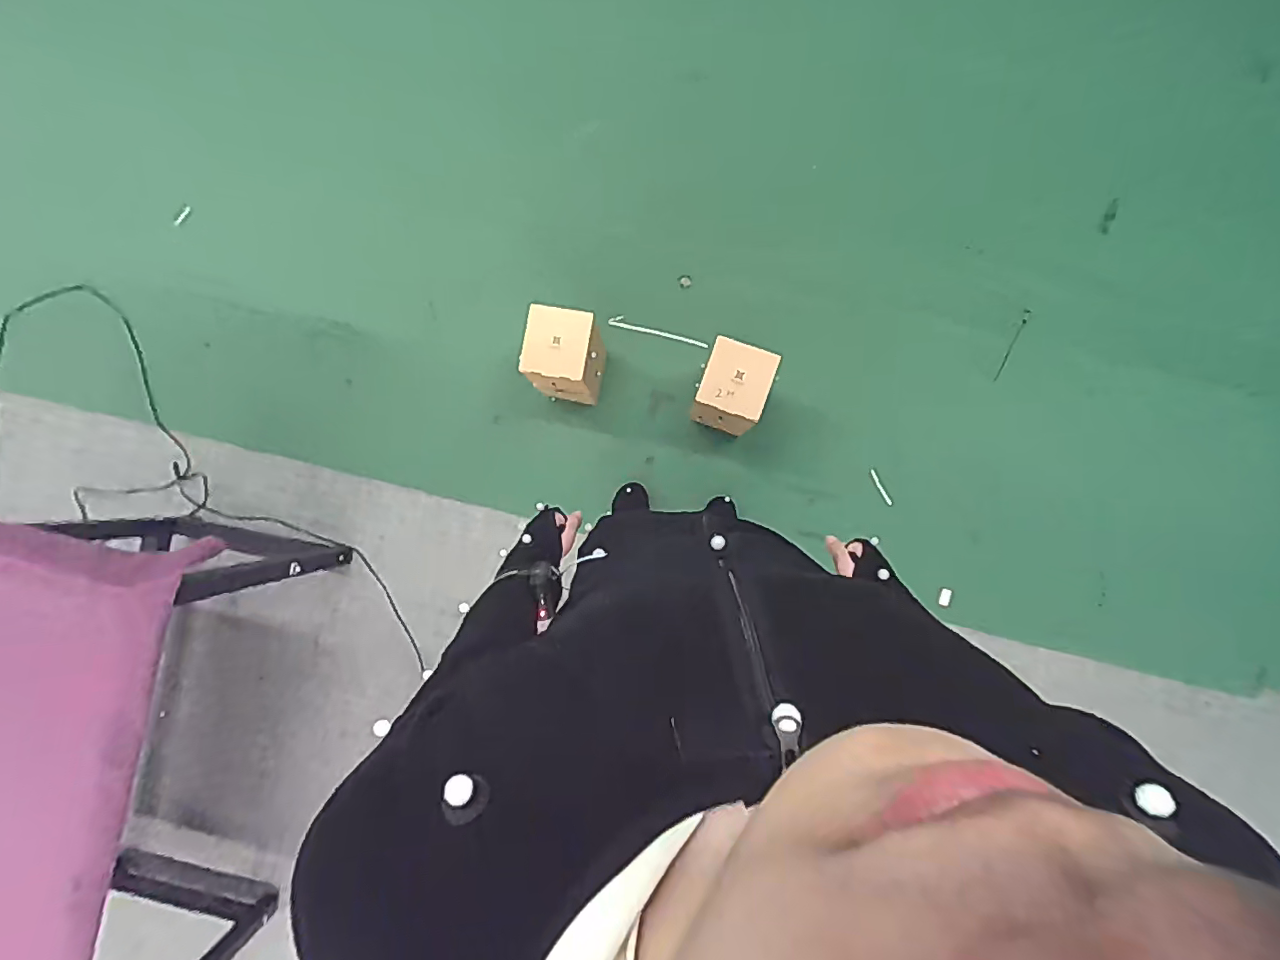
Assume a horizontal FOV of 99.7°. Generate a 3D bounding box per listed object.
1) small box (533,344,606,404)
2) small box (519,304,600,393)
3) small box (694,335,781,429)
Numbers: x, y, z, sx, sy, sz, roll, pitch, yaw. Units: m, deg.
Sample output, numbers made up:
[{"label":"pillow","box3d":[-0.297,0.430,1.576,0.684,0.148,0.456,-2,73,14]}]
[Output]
[{"label":"small box","box3d":[-0.201,-0.331,1.594,0.168,0.176,0.179,11,89,3]},{"label":"small box","box3d":[-0.206,-0.342,1.432,0.168,0.176,0.179,10,90,3]},{"label":"small box","box3d":[0.243,-0.246,1.401,0.168,0.176,0.179,20,90,4]}]
